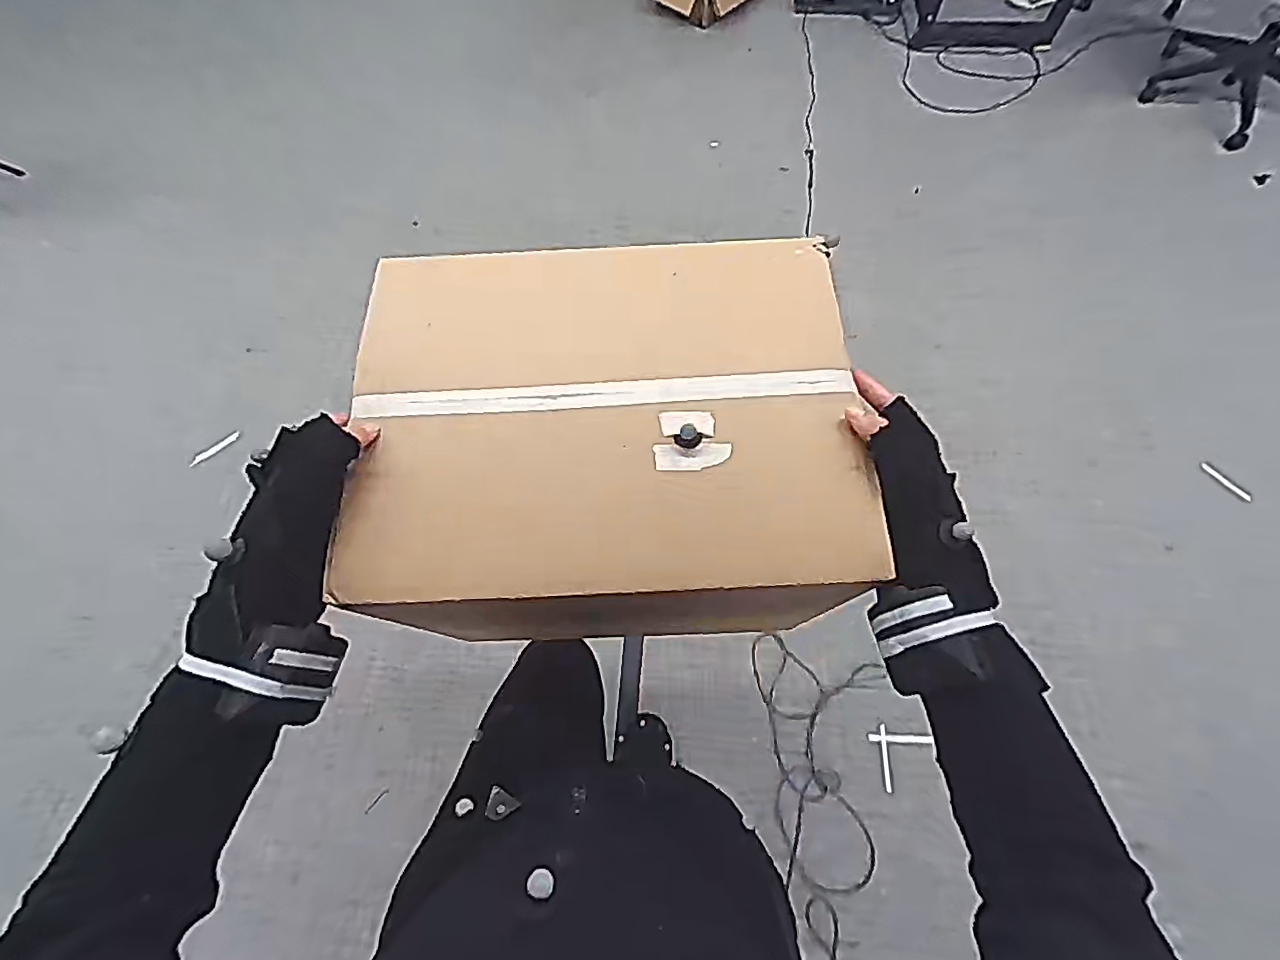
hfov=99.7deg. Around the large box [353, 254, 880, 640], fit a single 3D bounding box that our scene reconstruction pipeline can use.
[{"bbox_3d":[-0.022,-0.008,0.594,0.408,0.320,0.320,-2,68,1],"label":"large box"}]
